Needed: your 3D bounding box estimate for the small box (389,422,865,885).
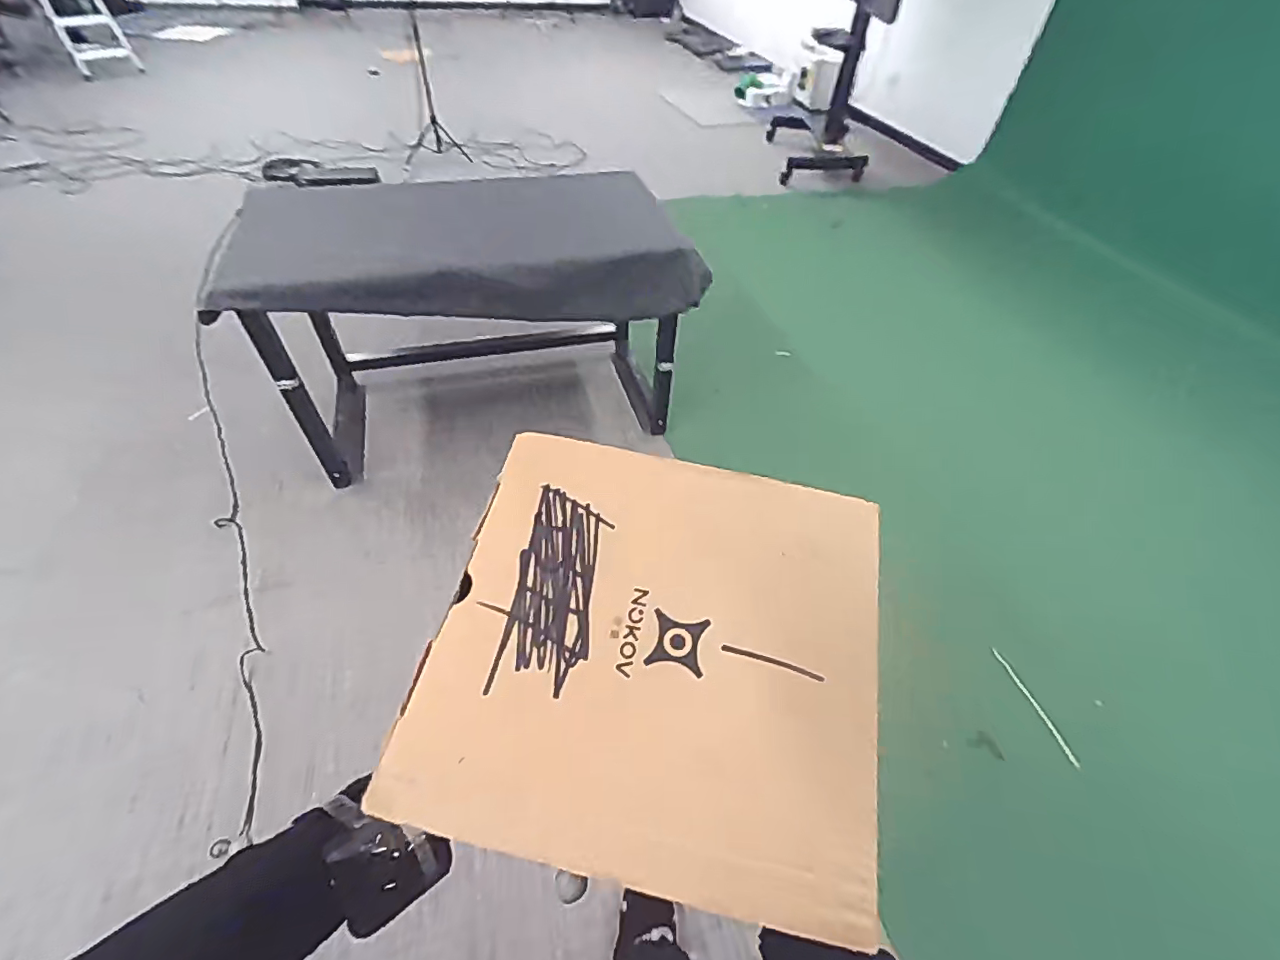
[{"bbox_3d":[0.005,0.095,0.300,0.179,0.176,0.168,12,60,5],"label":"small box"}]
